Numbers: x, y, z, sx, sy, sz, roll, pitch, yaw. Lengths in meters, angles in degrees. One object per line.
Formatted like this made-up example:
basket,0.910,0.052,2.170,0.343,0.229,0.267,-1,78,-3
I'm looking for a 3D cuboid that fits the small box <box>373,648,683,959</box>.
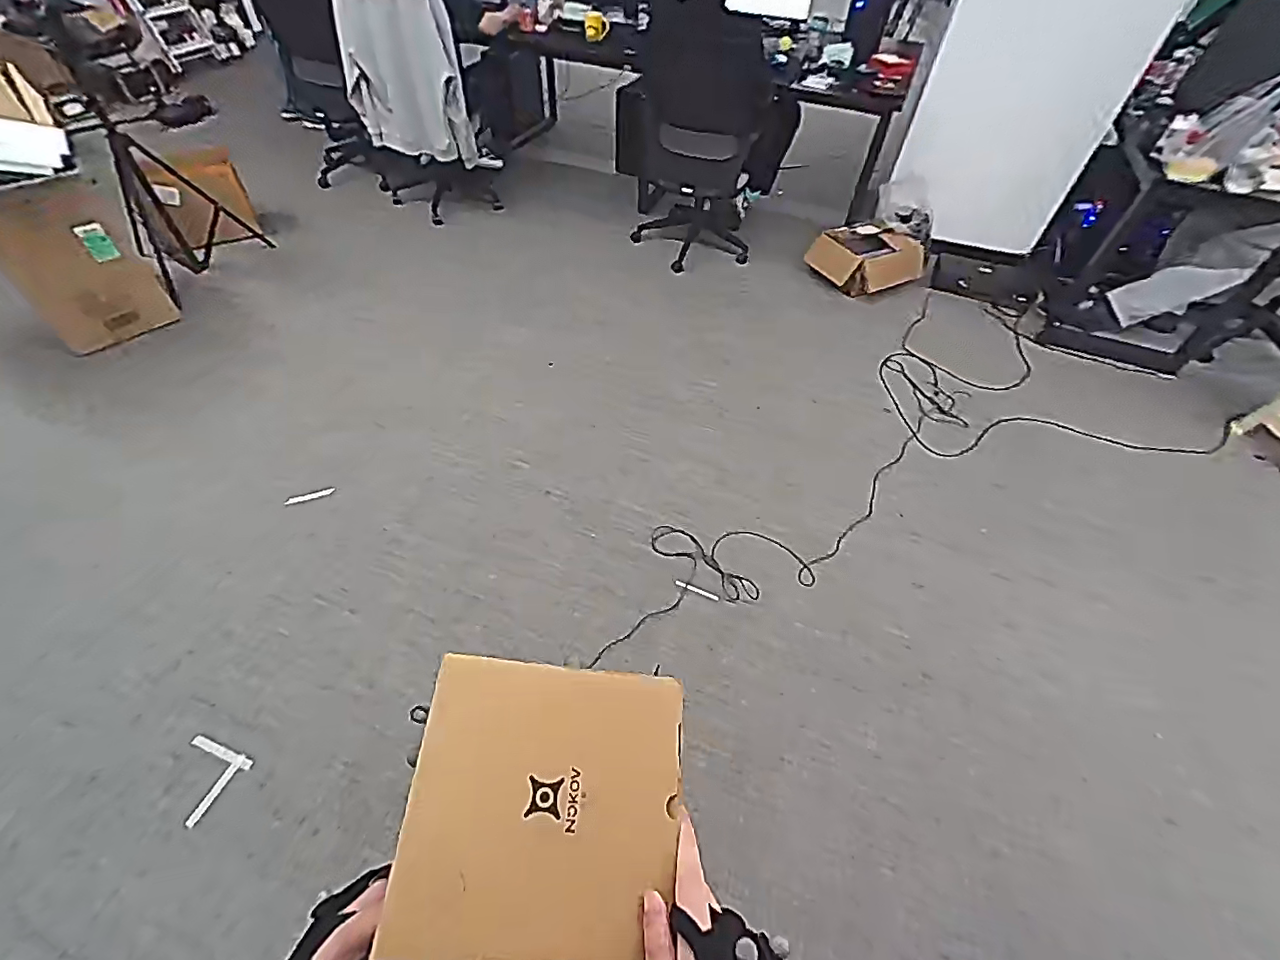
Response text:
small box,-0.075,0.241,0.414,0.179,0.176,0.168,11,57,-10
